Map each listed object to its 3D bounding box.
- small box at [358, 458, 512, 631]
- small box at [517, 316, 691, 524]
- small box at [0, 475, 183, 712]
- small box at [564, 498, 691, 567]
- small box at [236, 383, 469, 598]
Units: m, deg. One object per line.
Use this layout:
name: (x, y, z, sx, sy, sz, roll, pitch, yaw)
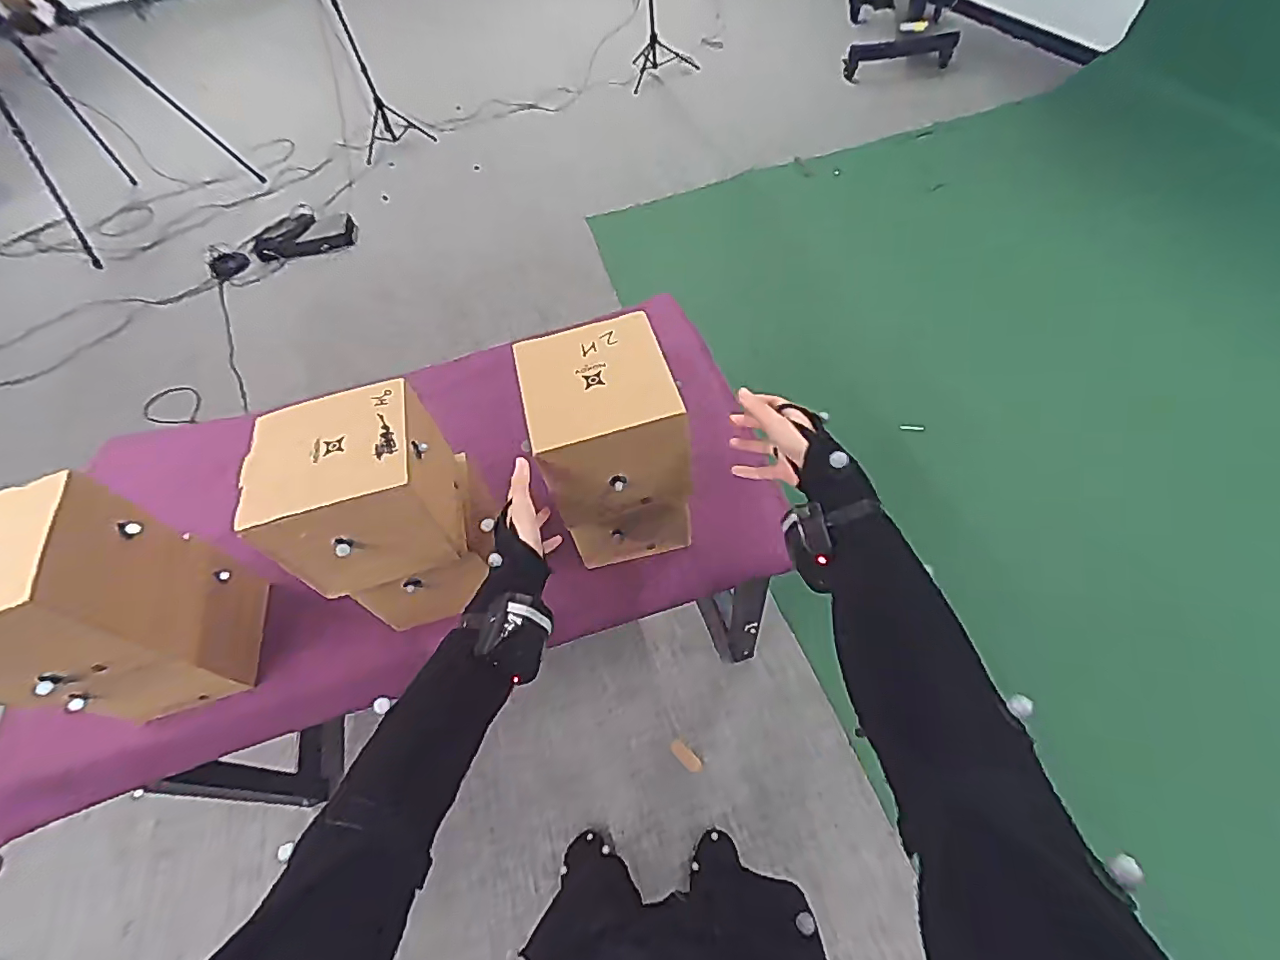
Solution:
small box: (-0.301, 0.100, 0.784, 0.179, 0.176, 0.168, -15, 54, -5)
small box: (-0.039, -0.064, 0.665, 0.168, 0.176, 0.179, -15, 55, -3)
small box: (-0.665, 0.130, 0.606, 0.168, 0.176, 0.179, -21, 54, -7)
small box: (-0.023, 0.016, 0.810, 0.168, 0.176, 0.179, -13, 55, -1)
small box: (-0.323, 0.019, 0.642, 0.179, 0.176, 0.168, -17, 54, -4)
